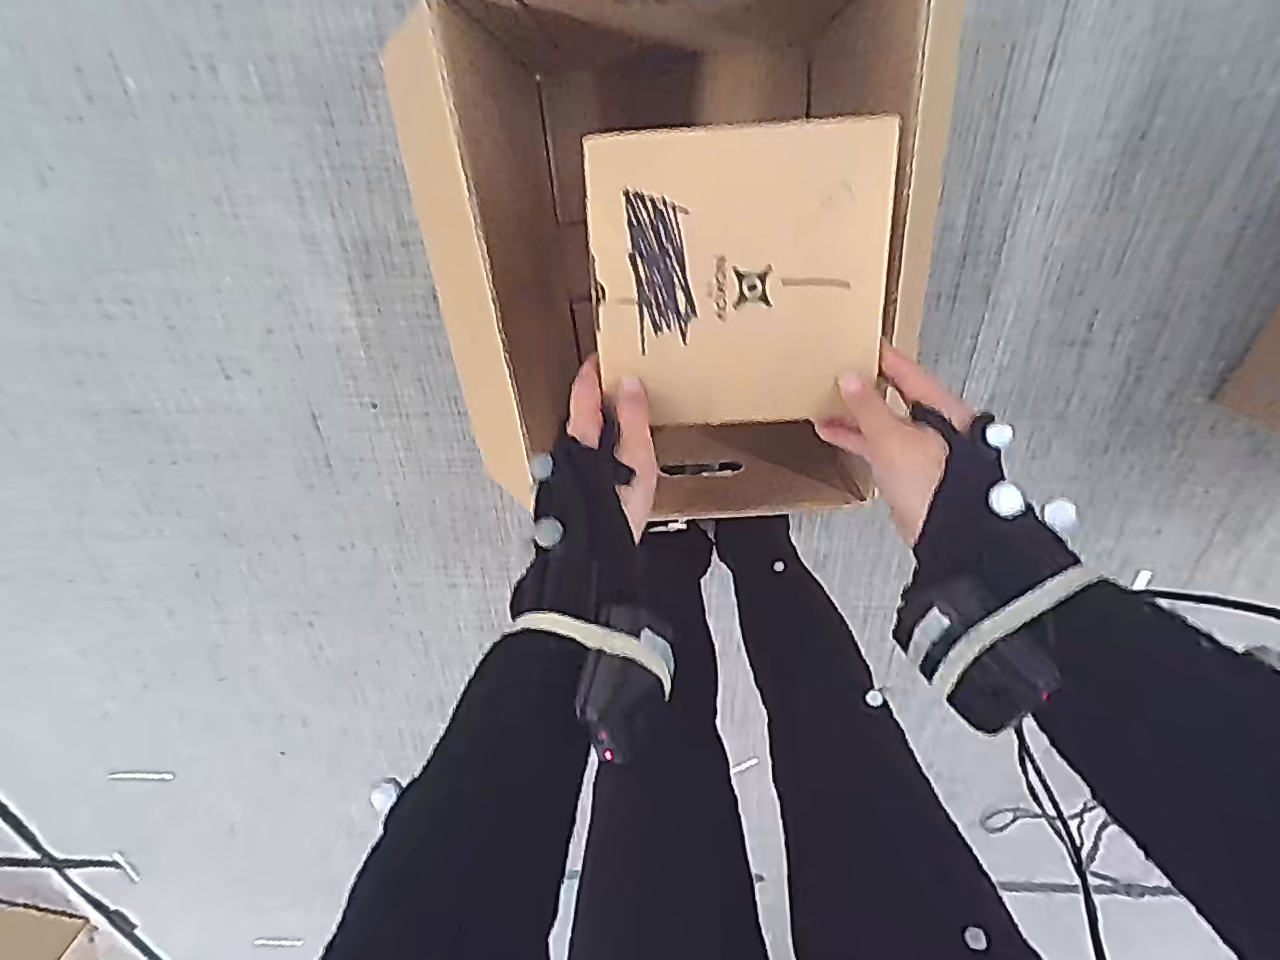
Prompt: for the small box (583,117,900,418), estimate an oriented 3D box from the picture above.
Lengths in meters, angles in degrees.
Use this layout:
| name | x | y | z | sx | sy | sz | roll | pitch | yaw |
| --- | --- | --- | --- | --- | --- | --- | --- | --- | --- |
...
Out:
| name | x | y | z | sx | sy | sz | roll | pitch | yaw |
| --- | --- | --- | --- | --- | --- | --- | --- | --- | --- |
| small box | 0.064 | -0.142 | 0.398 | 0.179 | 0.176 | 0.168 | -1 | 109 | 5 |
